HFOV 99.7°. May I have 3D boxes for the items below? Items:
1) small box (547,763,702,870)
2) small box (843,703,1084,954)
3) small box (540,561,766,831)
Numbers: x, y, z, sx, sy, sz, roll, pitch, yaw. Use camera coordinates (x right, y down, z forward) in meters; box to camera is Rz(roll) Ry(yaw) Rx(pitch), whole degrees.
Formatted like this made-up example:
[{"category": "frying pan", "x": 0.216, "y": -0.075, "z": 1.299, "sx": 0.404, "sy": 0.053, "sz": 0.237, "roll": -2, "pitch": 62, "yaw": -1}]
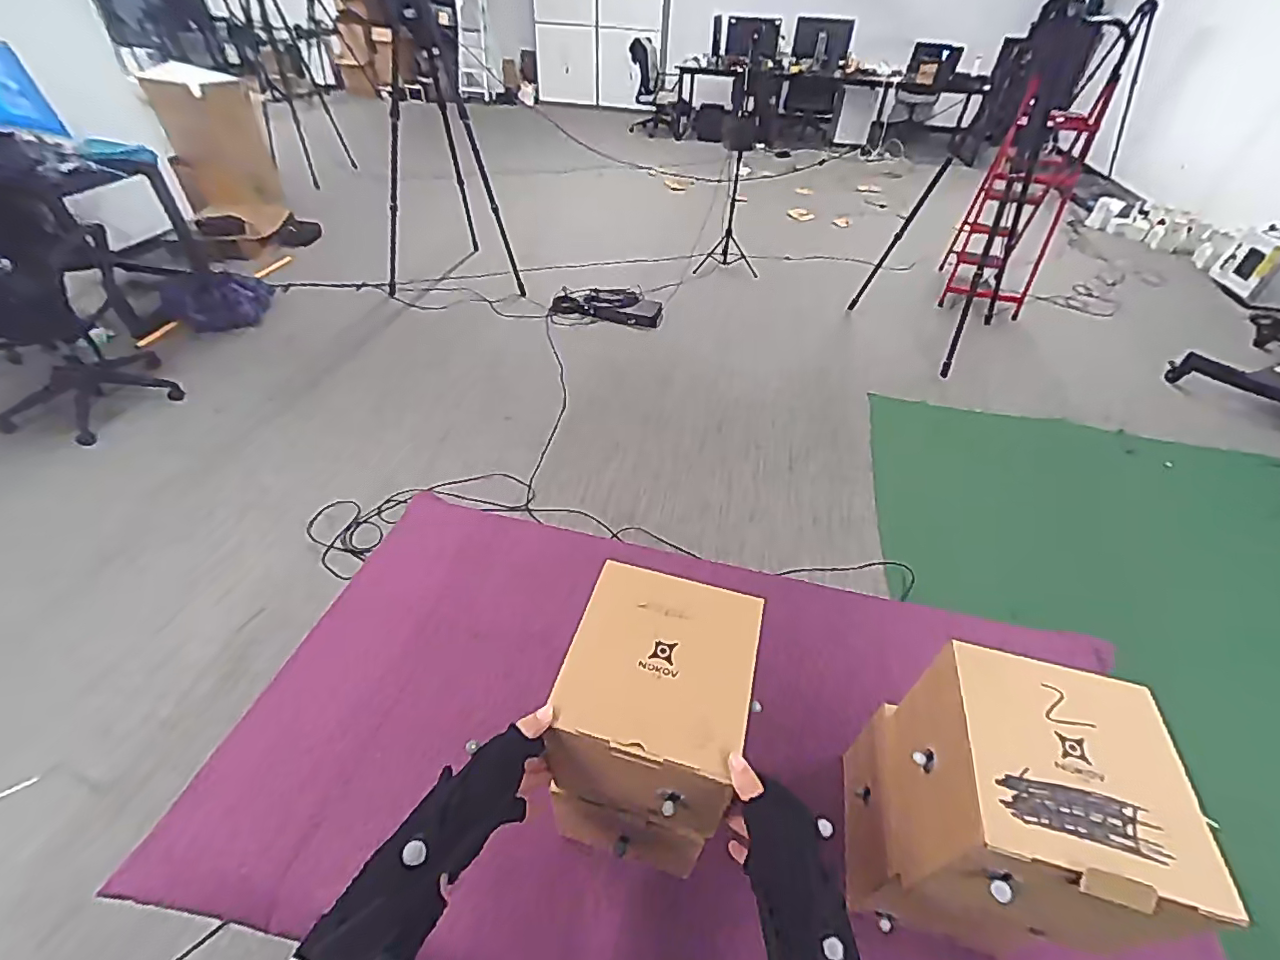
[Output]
[{"category": "small box", "x": 0.004, "y": 0.333, "z": 0.650, "sx": 0.168, "sy": 0.176, "sz": 0.179, "roll": 14, "pitch": 45, "yaw": 10}, {"category": "small box", "x": 0.338, "y": 0.391, "z": 0.605, "sx": 0.168, "sy": 0.176, "sz": 0.179, "roll": 15, "pitch": 45, "yaw": 10}, {"category": "small box", "x": 0.018, "y": 0.215, "z": 0.537, "sx": 0.168, "sy": 0.176, "sz": 0.179, "roll": 14, "pitch": 45, "yaw": 10}]
